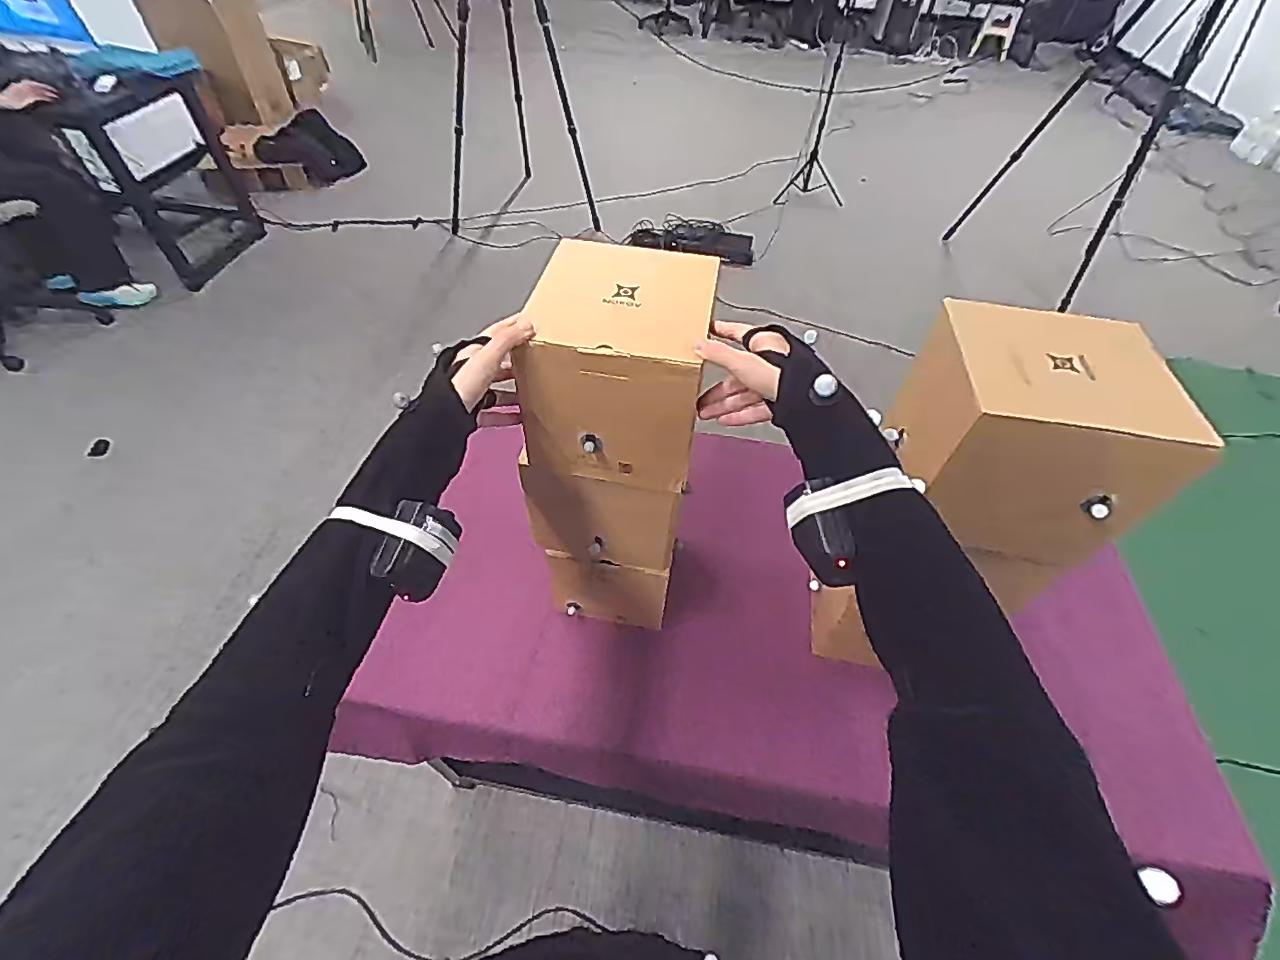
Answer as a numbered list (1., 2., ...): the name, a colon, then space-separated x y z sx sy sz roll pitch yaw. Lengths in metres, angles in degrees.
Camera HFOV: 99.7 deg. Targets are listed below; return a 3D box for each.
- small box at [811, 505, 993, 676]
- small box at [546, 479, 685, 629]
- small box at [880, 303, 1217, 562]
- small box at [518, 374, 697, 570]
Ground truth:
1. small box: 0.357 0.162 0.774 0.179 0.176 0.168 10 50 5
2. small box: -0.030 0.101 0.808 0.168 0.176 0.179 9 50 4
3. small box: 0.353 -0.041 0.516 0.179 0.176 0.168 9 50 6
4. small box: -0.035 -0.005 0.682 0.179 0.176 0.168 11 50 5
